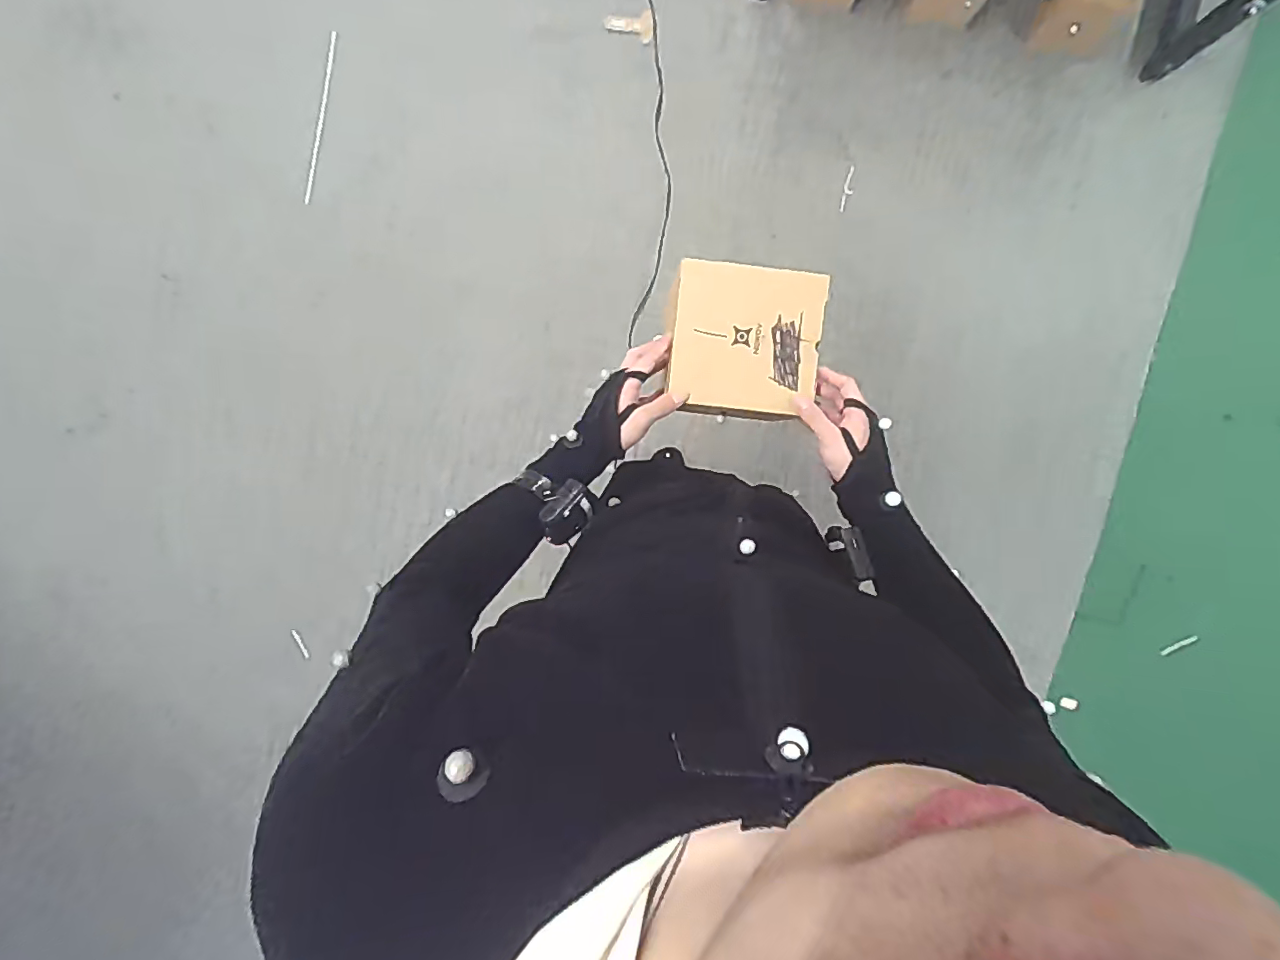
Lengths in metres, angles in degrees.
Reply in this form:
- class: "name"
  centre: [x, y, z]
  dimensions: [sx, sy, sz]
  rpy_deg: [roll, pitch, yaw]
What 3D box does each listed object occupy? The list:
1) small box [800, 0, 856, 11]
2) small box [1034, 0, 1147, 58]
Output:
- class: "small box"
  centre: [0.524, -1.392, 1.424]
  dimensions: [0.179, 0.176, 0.168]
  rpy_deg: [12, 94, 0]
- class: "small box"
  centre: [1.188, -1.259, 1.418]
  dimensions: [0.179, 0.176, 0.168]
  rpy_deg: [15, 95, 0]
